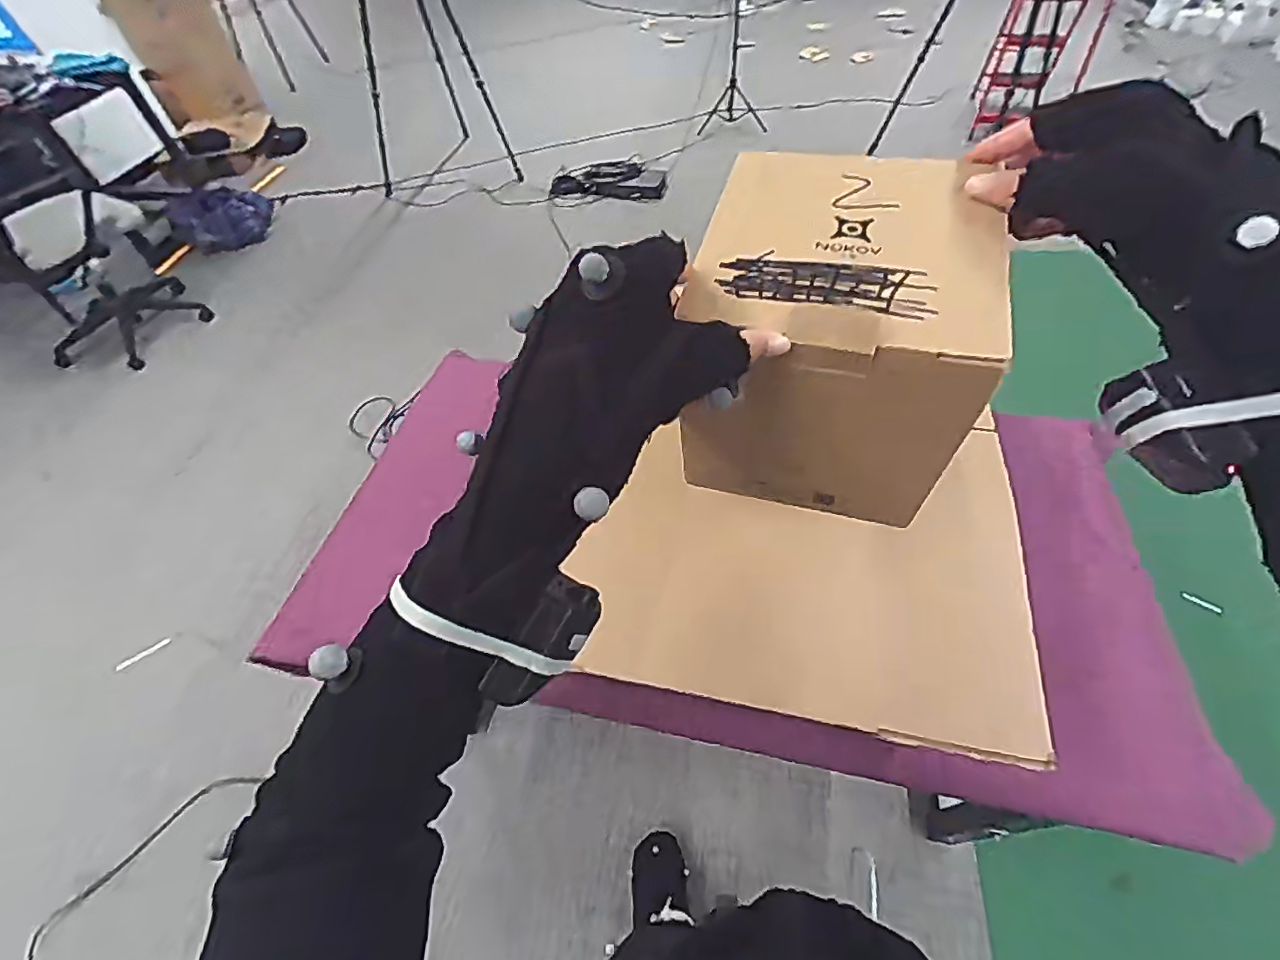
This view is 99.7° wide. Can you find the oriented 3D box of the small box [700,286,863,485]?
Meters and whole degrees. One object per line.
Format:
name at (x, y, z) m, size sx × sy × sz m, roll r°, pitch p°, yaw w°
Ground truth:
small box at (0.164, -0.112, 0.661) m, size 0.168 × 0.176 × 0.179 m, roll 6°, pitch 53°, yaw 9°
